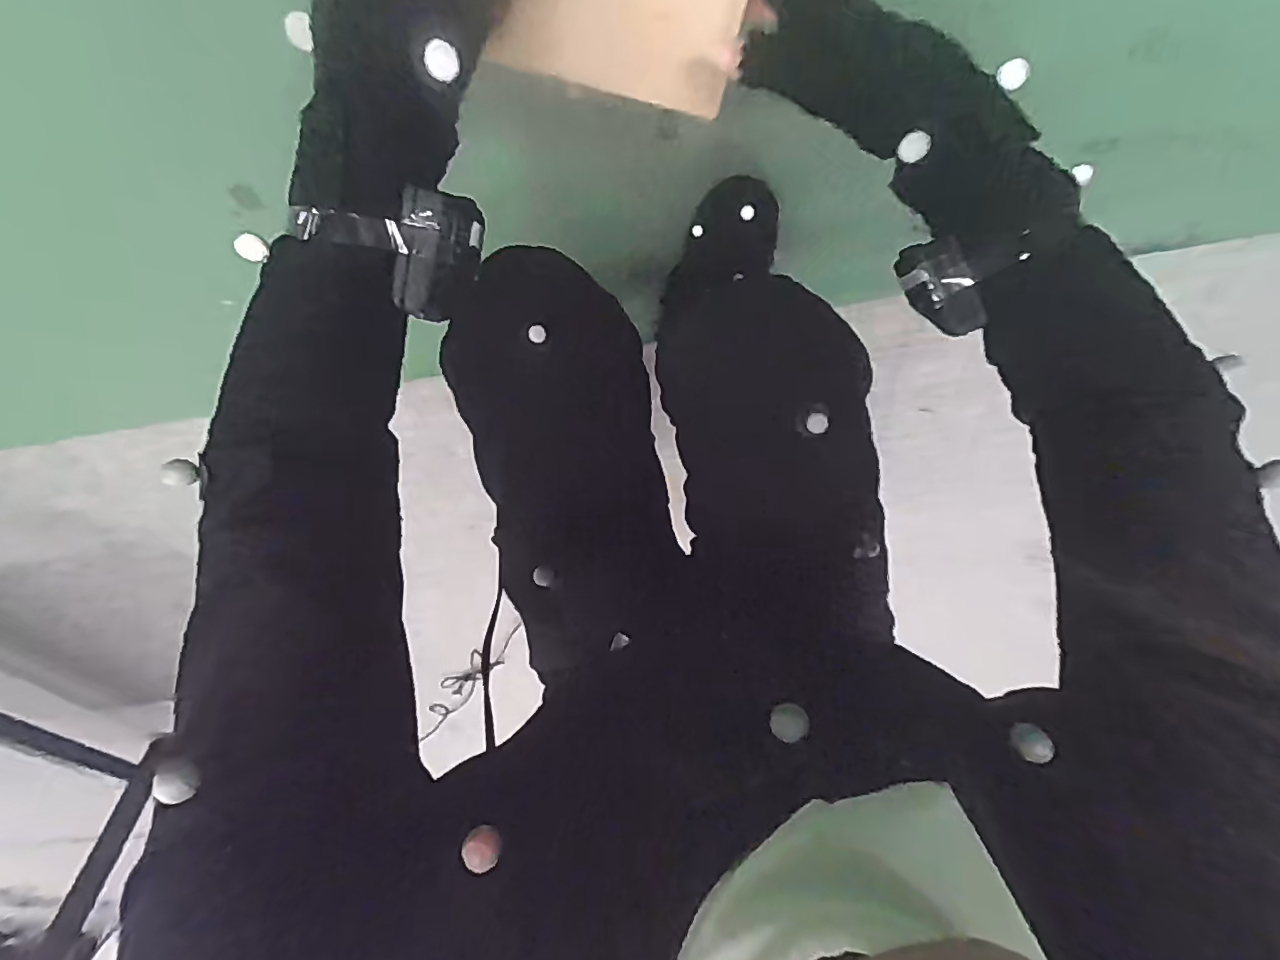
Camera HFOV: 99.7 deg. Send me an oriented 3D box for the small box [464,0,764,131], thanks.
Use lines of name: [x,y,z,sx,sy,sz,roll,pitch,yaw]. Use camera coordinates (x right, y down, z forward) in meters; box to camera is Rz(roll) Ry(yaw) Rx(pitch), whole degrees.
small box: [-0.009,-0.352,0.342,0.168,0.176,0.179,9,128,-11]
